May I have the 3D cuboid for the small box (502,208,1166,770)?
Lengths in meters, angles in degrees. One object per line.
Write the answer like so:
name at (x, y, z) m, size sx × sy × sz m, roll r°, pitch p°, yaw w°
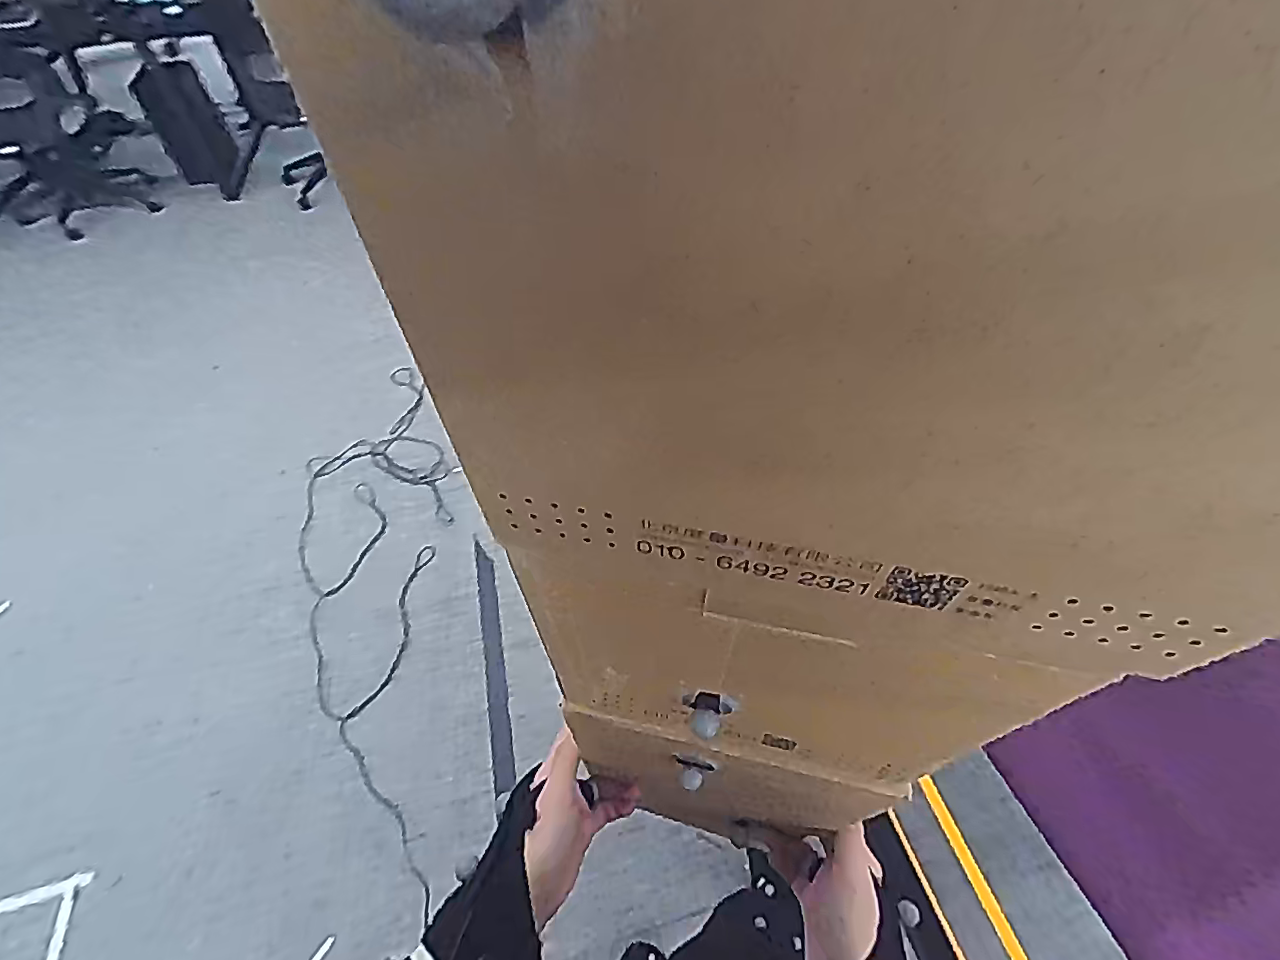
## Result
small box at (0.059, 0.007, 0.246) m, size 0.168 × 0.176 × 0.179 m, roll 9°, pitch 53°, yaw 8°

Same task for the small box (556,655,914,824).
small box at (0.061, 0.115, 0.368) m, size 0.179 × 0.176 × 0.168 m, roll 11°, pitch 53°, yaw 9°
